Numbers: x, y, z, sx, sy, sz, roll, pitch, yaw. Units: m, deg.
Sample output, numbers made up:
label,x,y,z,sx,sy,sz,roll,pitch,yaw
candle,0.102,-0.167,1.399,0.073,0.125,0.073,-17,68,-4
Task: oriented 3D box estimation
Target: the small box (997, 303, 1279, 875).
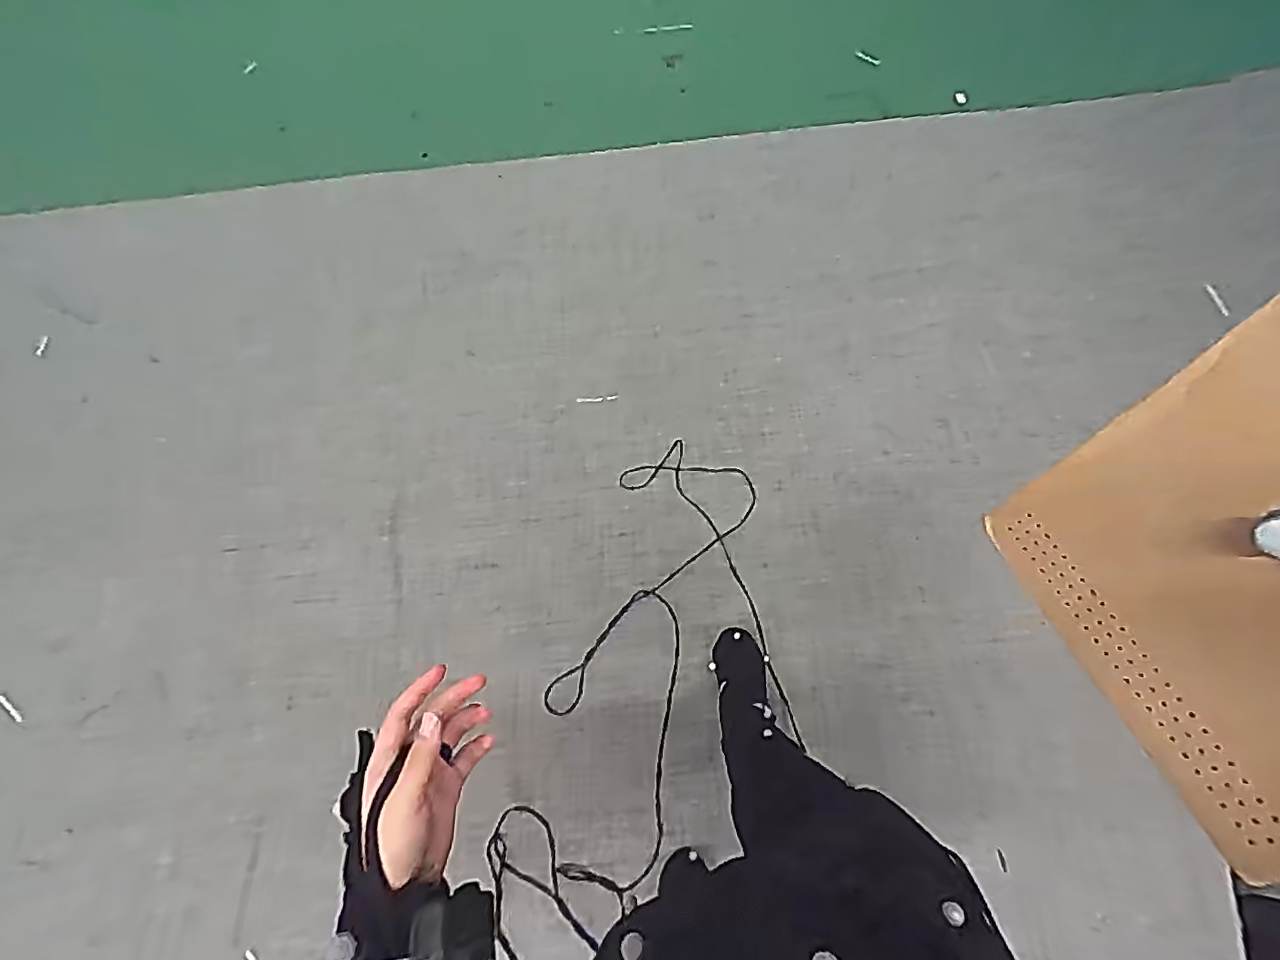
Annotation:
label,x,y,z,sx,sy,sz,roll,pitch,yaw
small box,0.315,0.044,0.238,0.168,0.176,0.179,-4,52,-23
